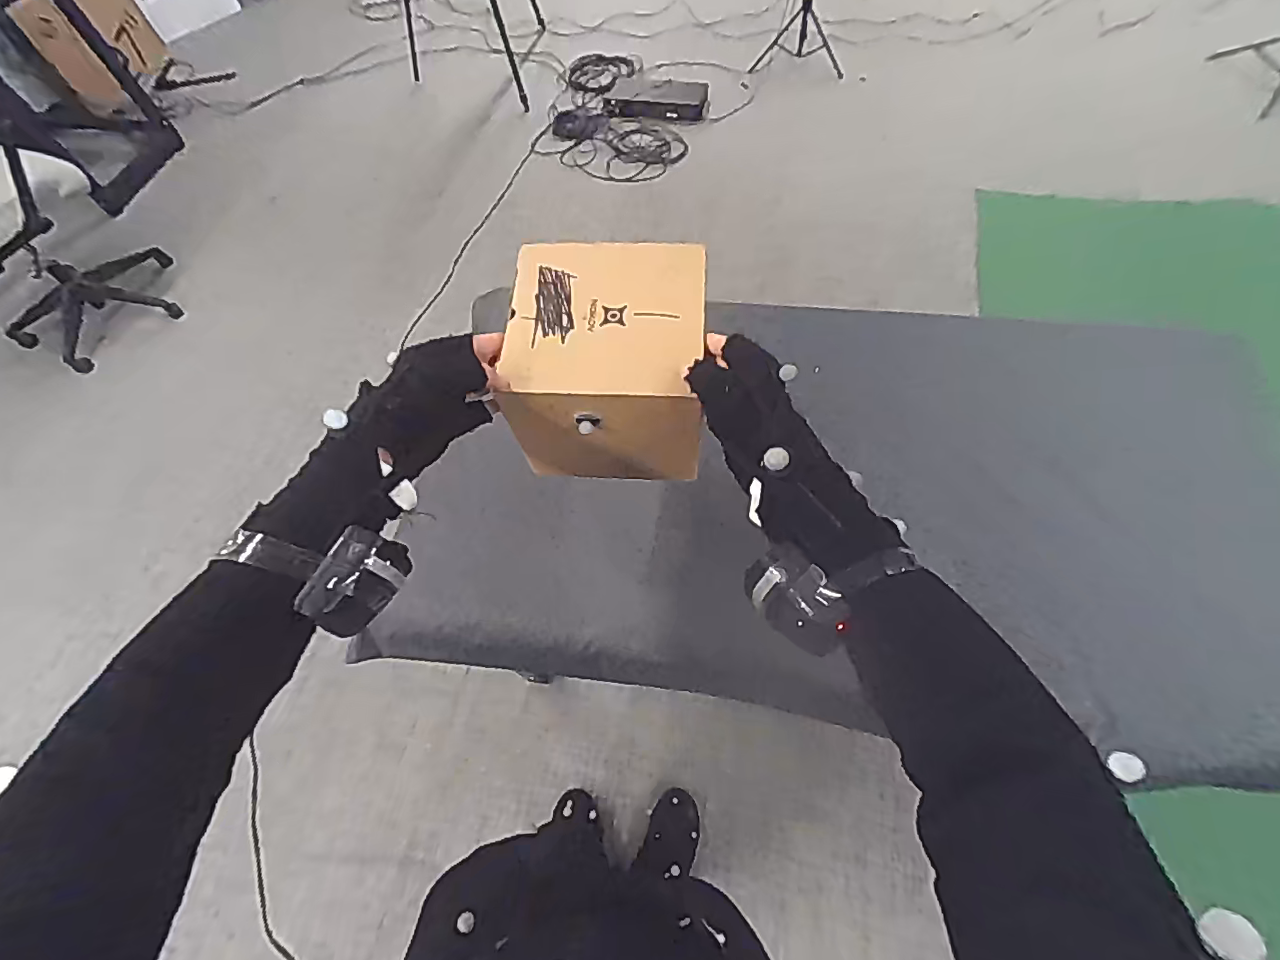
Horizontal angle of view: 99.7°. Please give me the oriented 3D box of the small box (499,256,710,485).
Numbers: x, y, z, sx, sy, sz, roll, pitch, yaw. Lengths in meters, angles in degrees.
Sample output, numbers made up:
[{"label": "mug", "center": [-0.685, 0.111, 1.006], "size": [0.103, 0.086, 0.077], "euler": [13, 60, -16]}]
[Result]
[{"label": "small box", "center": [-0.022, -0.102, 0.551], "size": [0.179, 0.176, 0.168], "euler": [3, 66, 4]}]
